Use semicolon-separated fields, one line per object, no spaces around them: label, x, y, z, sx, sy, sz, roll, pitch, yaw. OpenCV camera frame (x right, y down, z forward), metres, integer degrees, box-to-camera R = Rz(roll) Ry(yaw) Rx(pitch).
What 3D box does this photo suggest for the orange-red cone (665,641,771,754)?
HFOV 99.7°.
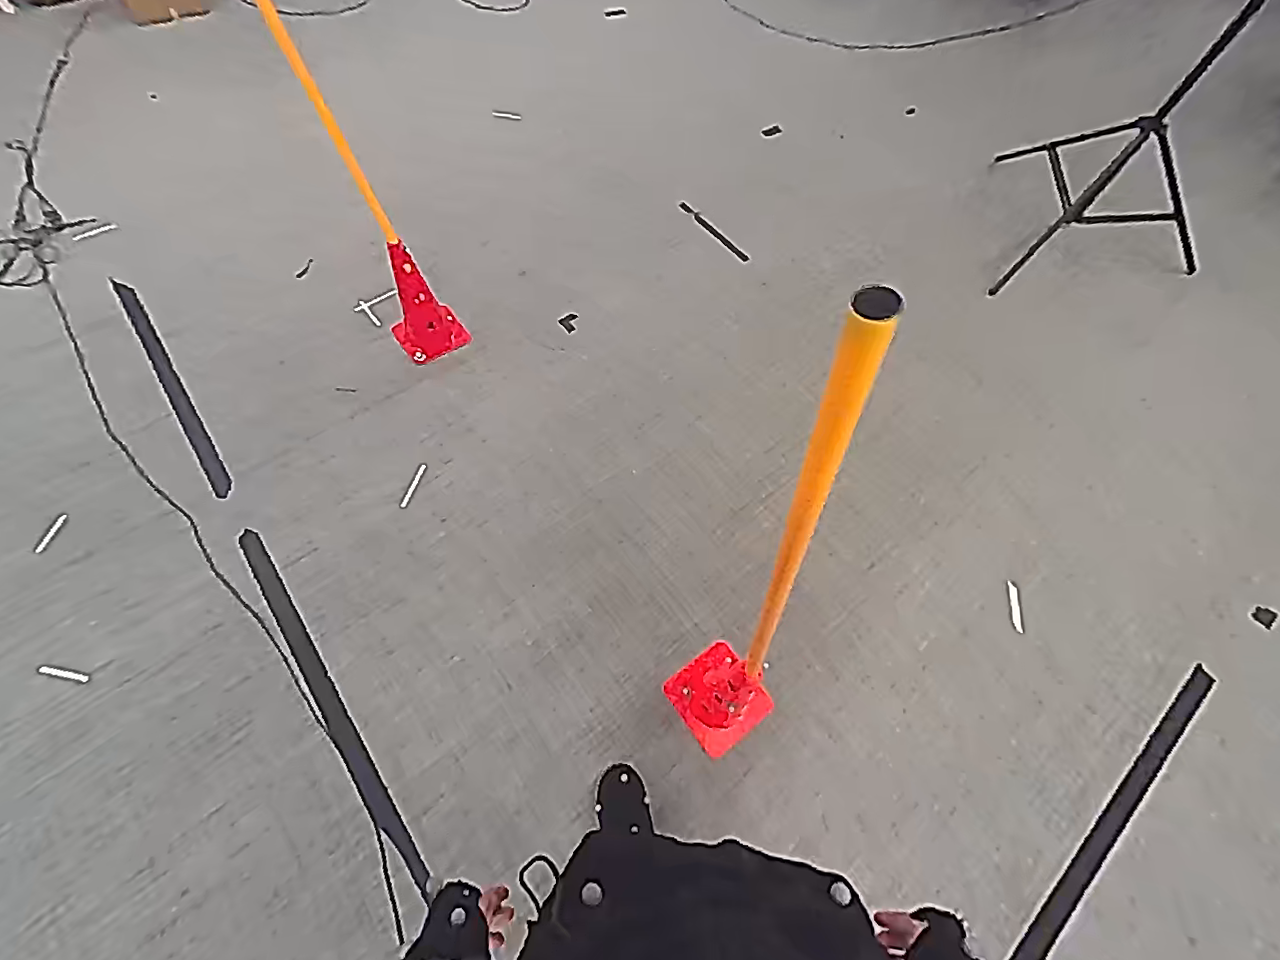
orange-red cone;0.192;0.428;1.126;0.198;0.360;0.199;-31;68;-18
